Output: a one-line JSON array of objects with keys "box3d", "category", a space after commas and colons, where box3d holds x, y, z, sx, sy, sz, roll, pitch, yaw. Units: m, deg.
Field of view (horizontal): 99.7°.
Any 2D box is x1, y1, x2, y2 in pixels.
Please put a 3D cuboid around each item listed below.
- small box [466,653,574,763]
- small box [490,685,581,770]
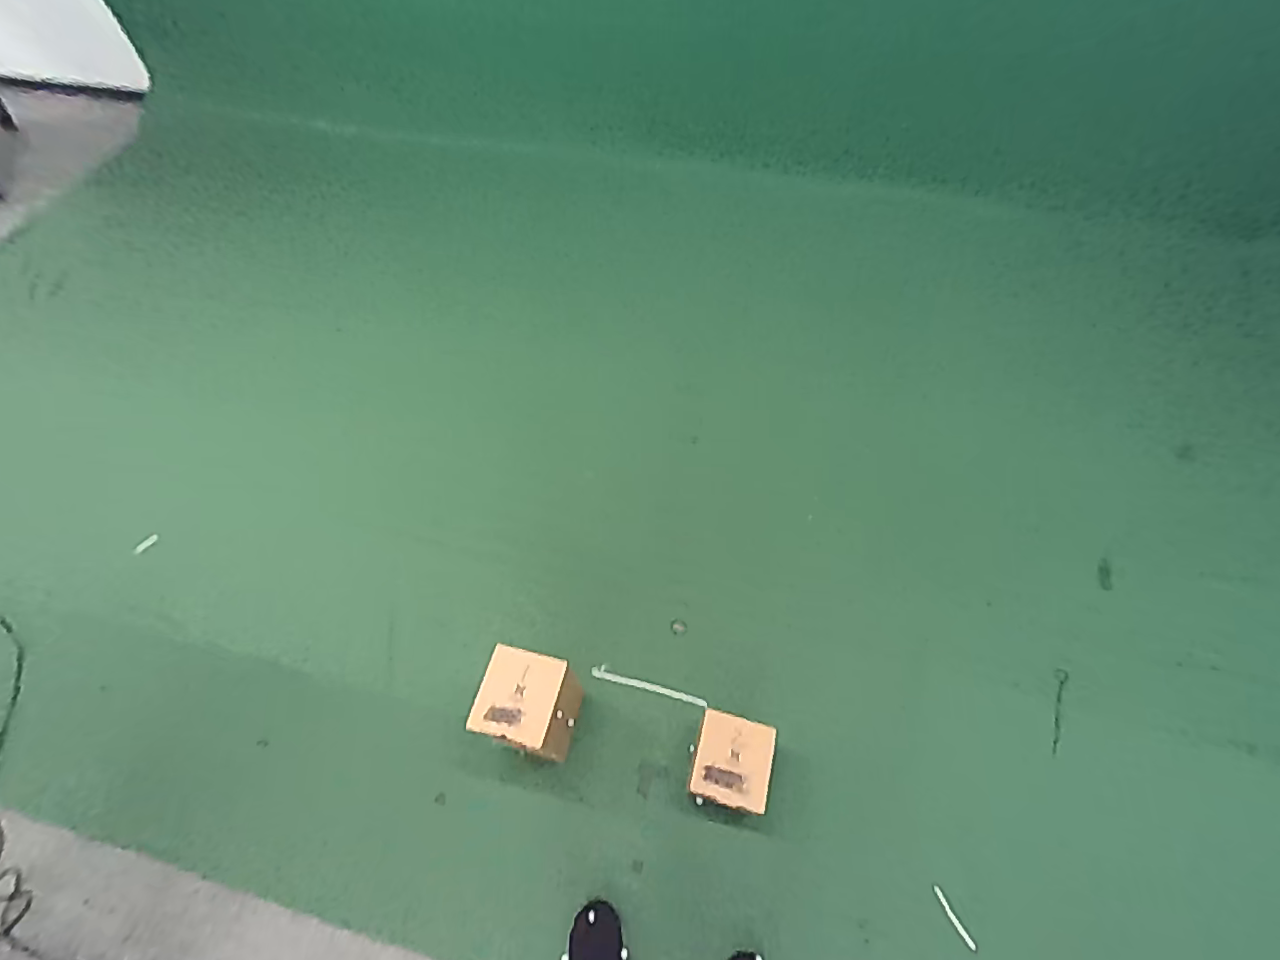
[{"box3d": [-0.250, 0.505, 1.185, 0.168, 0.176, 0.179, 12, 59, 8], "category": "small box"}, {"box3d": [-0.247, 0.591, 1.325, 0.168, 0.176, 0.179, 12, 60, 8], "category": "small box"}]
